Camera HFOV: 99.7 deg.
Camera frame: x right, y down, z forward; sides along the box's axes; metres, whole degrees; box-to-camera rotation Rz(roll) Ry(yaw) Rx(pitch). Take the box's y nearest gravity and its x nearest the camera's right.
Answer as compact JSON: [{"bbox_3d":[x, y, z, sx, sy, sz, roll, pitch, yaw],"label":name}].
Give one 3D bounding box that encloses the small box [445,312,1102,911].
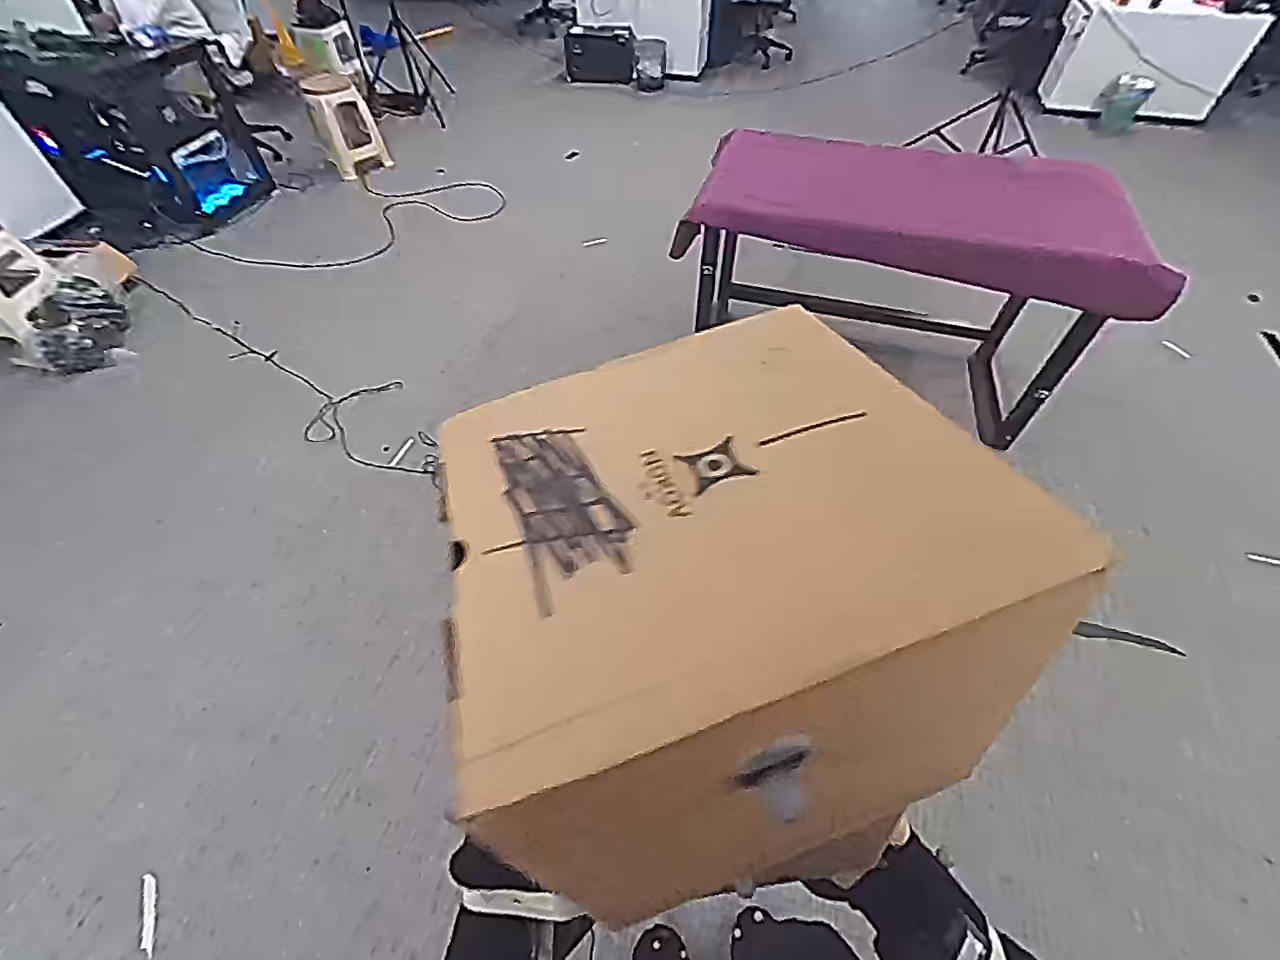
[{"bbox_3d":[0.033,0.057,0.242,0.179,0.176,0.168,-19,44,-5],"label":"small box"}]
